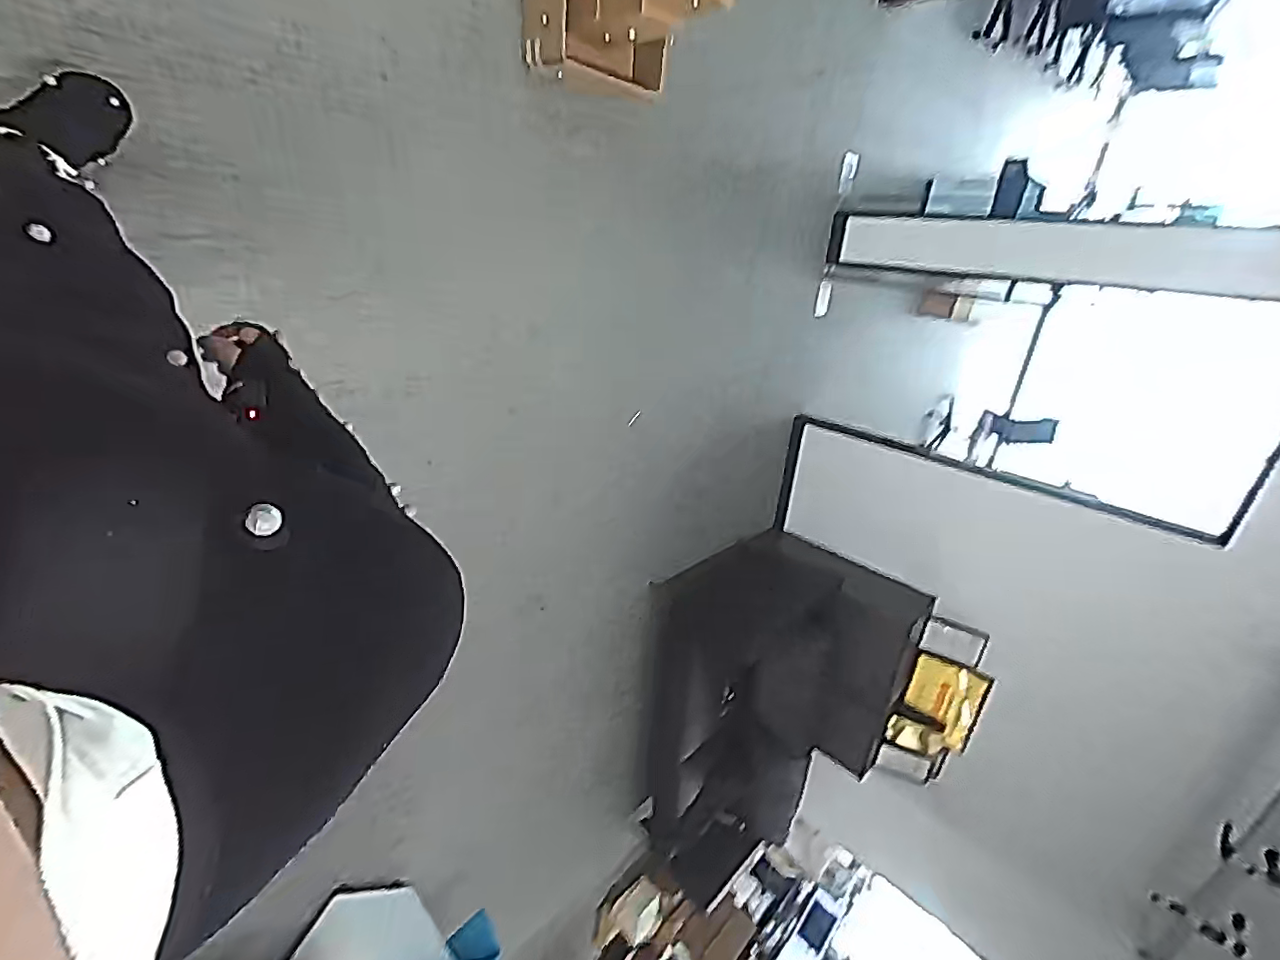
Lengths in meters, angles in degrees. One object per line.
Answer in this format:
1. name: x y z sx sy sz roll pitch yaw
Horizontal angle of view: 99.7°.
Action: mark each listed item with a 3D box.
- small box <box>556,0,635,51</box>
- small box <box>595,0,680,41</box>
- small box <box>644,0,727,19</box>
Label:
1. small box: -0.122 -1.350 1.528 0.179 0.176 0.168 -16 120 -44
2. small box: -0.006 -1.298 1.423 0.168 0.176 0.179 -20 123 -41
3. small box: 0.105 -1.259 1.309 0.179 0.176 0.168 -15 120 -44
